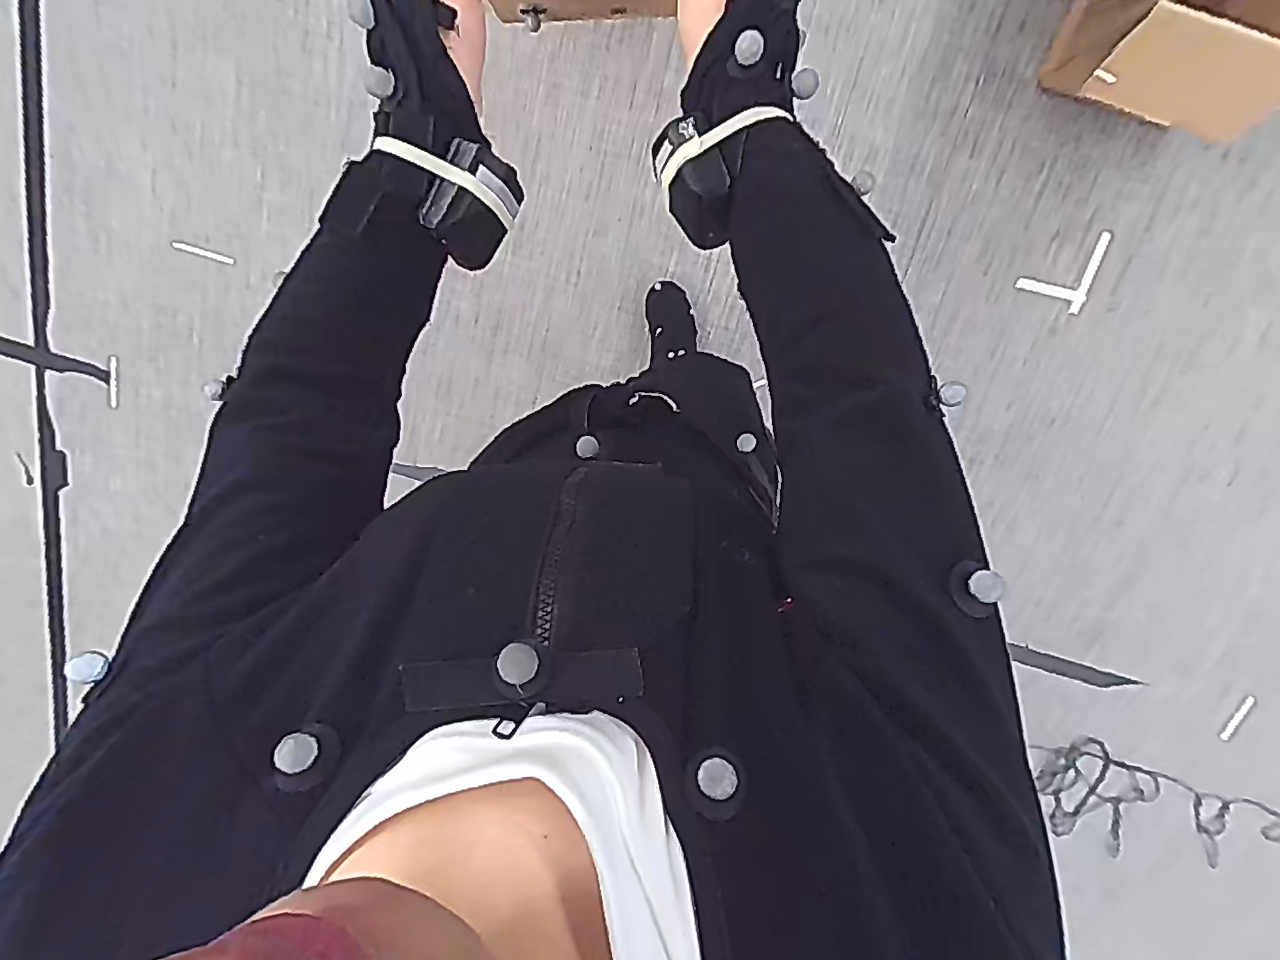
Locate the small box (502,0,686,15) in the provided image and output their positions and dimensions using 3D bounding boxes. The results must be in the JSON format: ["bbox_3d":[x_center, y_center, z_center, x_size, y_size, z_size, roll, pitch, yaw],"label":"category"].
[{"bbox_3d":[-0.041,-0.449,0.366,0.168,0.176,0.179,-3,112,0],"label":"small box"}]
